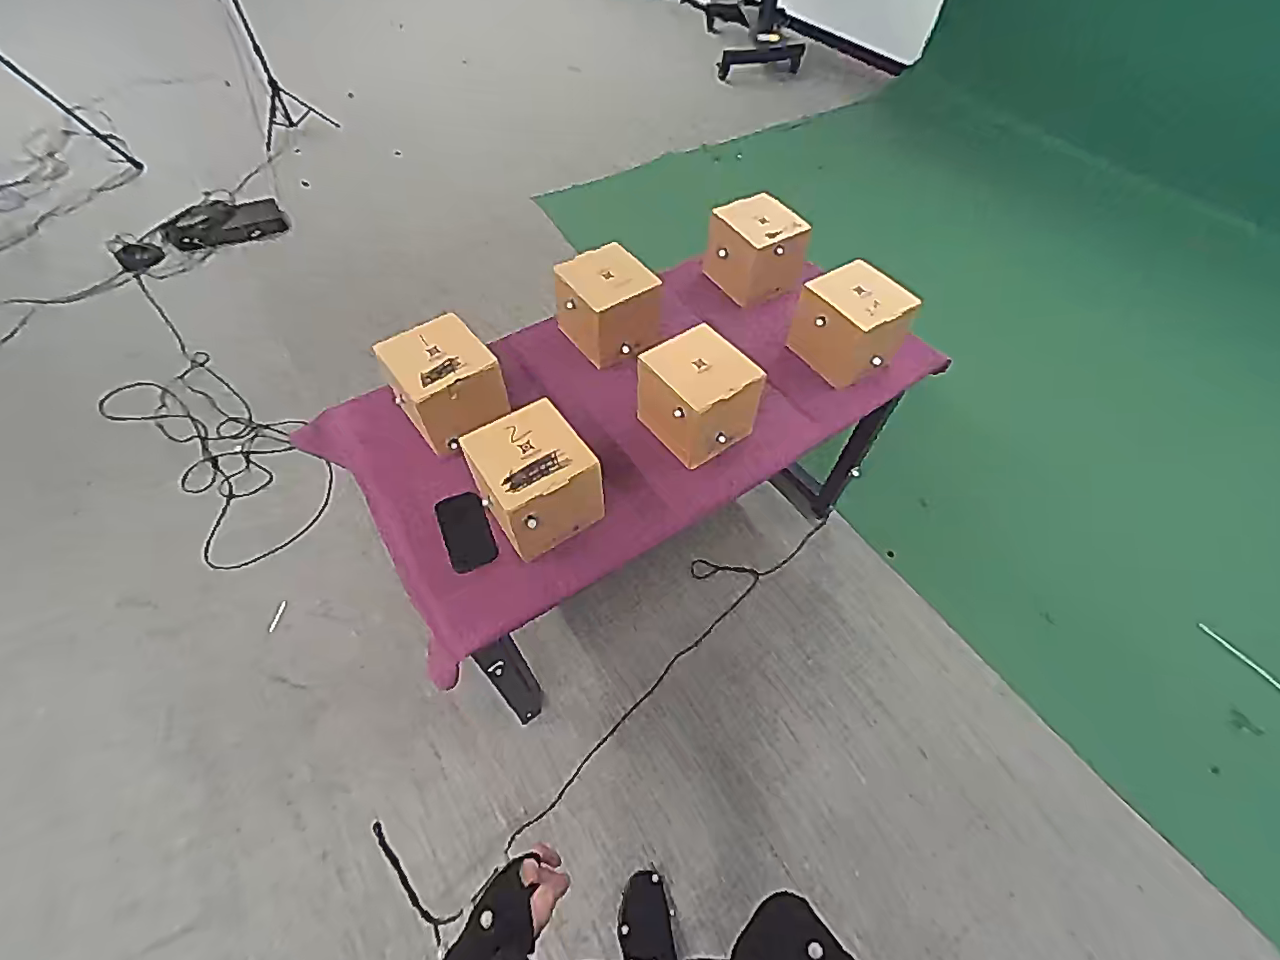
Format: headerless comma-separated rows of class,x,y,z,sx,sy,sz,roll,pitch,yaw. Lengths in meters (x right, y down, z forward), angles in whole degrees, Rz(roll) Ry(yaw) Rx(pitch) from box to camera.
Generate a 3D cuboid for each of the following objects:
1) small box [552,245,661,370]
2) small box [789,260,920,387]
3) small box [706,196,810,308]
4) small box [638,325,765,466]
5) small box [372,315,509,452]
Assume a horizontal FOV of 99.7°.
small box,-0.073,-0.376,1.187,0.168,0.176,0.179,-30,62,-19
small box,0.448,-0.332,1.162,0.168,0.176,0.179,-28,61,-17
small box,0.276,-0.552,1.314,0.168,0.176,0.179,-27,60,-18
small box,0.108,-0.160,1.041,0.168,0.176,0.179,-31,61,-21
small box,-0.374,-0.178,1.041,0.168,0.176,0.179,-33,62,-22
